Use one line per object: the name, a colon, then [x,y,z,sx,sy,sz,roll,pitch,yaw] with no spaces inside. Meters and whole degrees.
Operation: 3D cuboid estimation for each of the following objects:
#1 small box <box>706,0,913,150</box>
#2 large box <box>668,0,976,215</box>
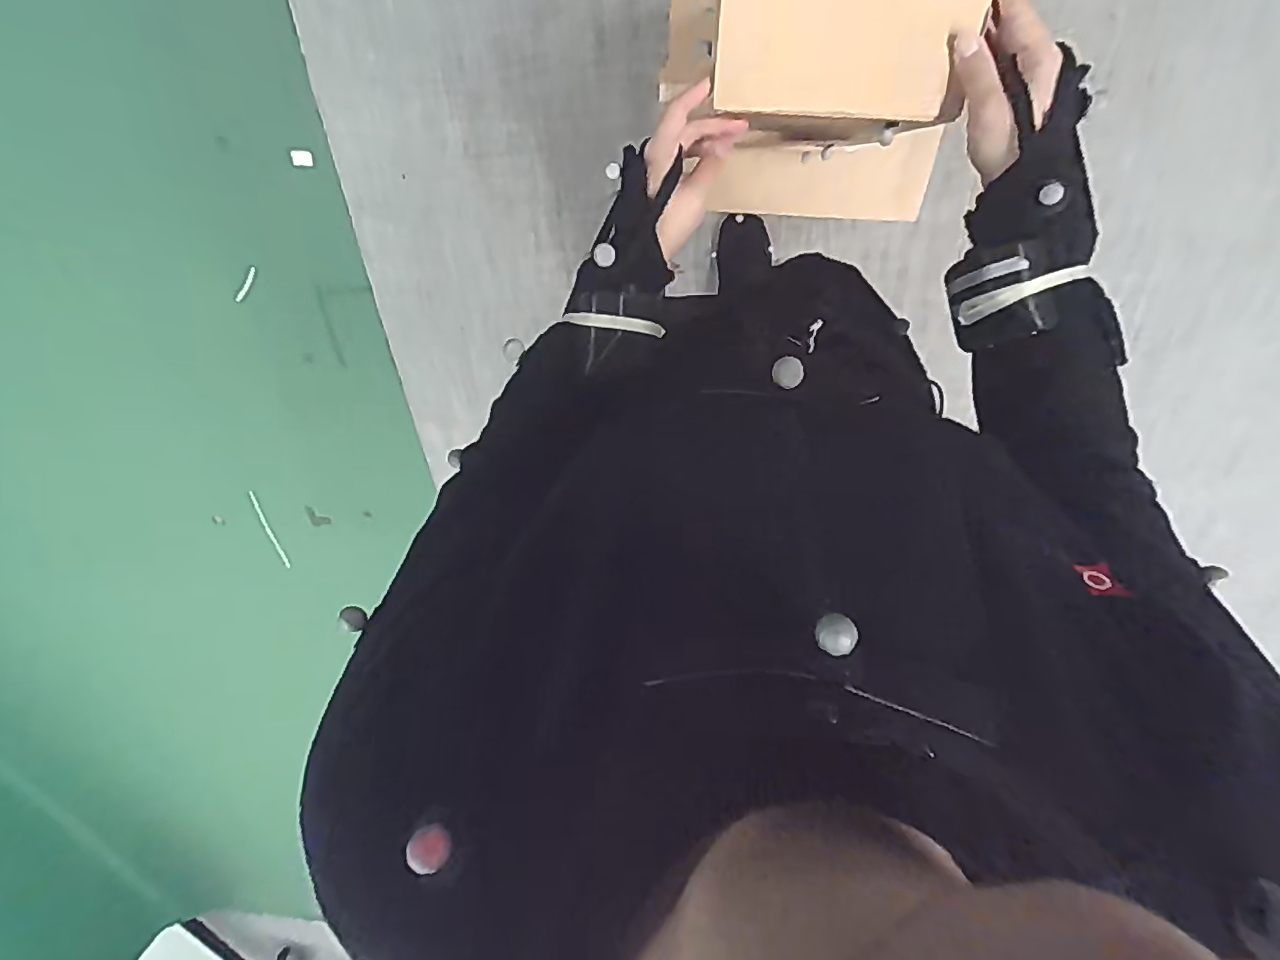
small box: [0.160,-0.441,0.556,0.179,0.176,0.168,3,119,7]
large box: [0.258,-0.631,0.904,0.408,0.320,0.320,5,122,5]
